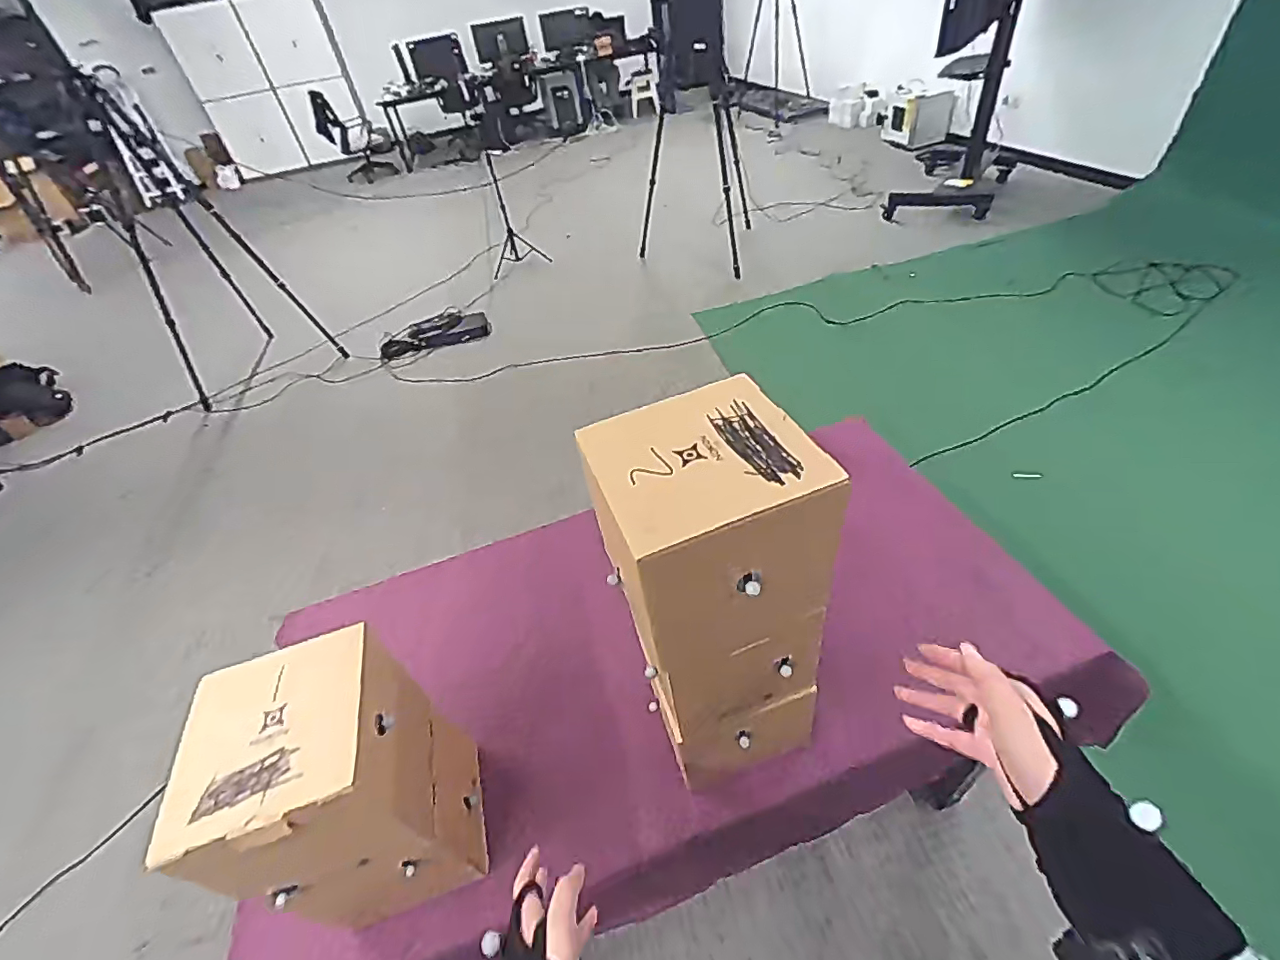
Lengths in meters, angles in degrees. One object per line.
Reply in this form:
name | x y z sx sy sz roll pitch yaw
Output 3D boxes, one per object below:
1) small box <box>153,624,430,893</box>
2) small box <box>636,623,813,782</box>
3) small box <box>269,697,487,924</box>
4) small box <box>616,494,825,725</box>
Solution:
small box | -0.327 0.287 0.554 0.168 0.176 0.179 -18 42 -9
small box | 0.109 0.272 0.721 0.179 0.176 0.168 -17 44 -7
small box | -0.306 0.407 0.665 0.179 0.176 0.168 -18 44 -9
small box | 0.086 0.151 0.614 0.168 0.176 0.179 -18 43 -9
